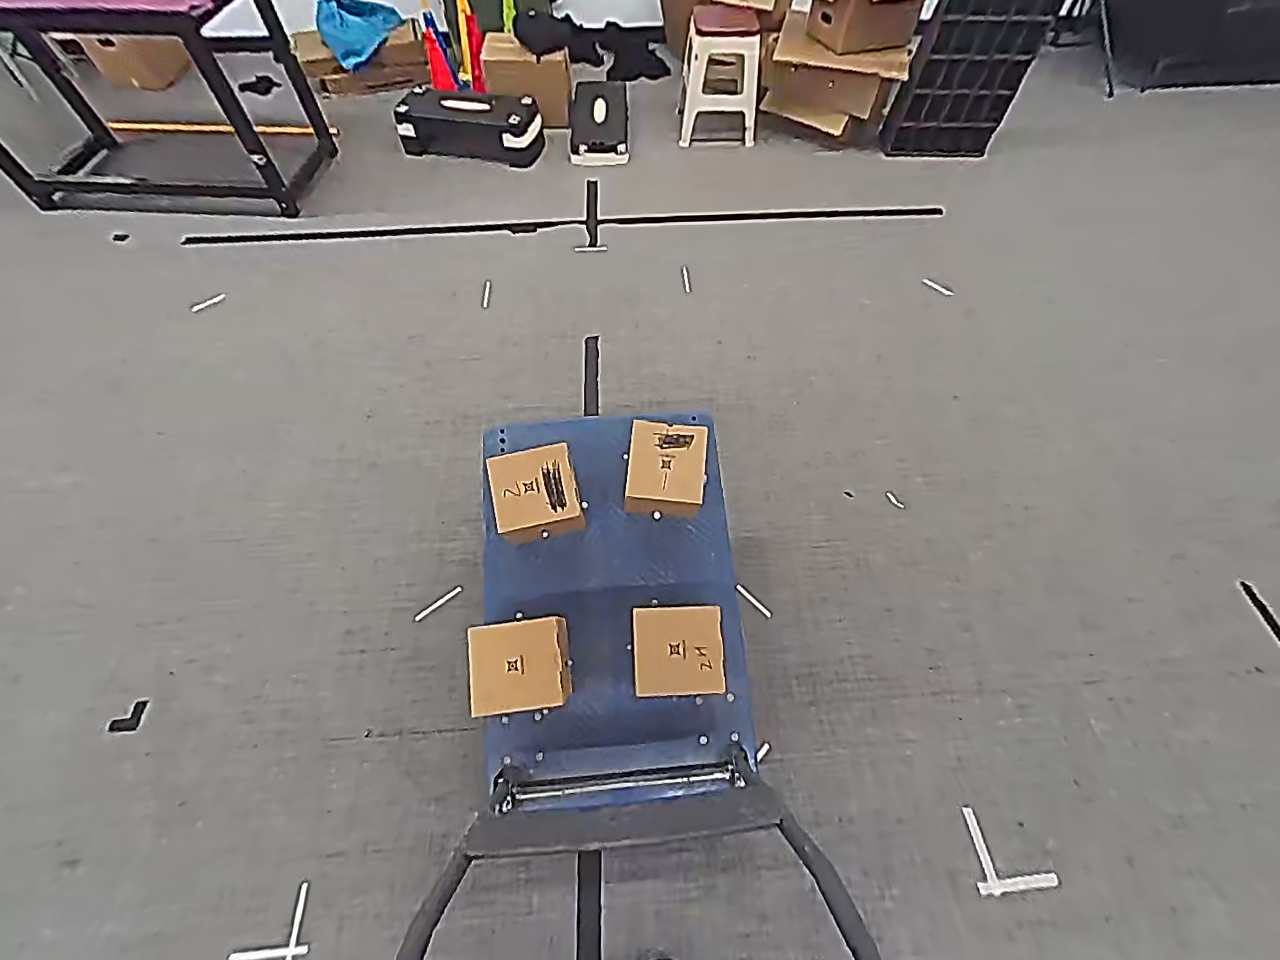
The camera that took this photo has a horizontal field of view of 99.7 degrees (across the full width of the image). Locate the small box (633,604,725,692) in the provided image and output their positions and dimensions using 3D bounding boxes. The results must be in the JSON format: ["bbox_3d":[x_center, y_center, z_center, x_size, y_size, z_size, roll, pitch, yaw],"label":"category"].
[{"bbox_3d":[0.074,0.349,1.128,0.179,0.176,0.168,-1,75,-2],"label":"small box"}]

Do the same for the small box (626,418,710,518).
[{"bbox_3d":[0.059,-0.022,1.233,0.168,0.176,0.179,6,75,0],"label":"small box"}]

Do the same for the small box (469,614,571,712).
[{"bbox_3d":[-0.242,0.372,1.112,0.179,0.176,0.168,-6,74,-5],"label":"small box"}]
